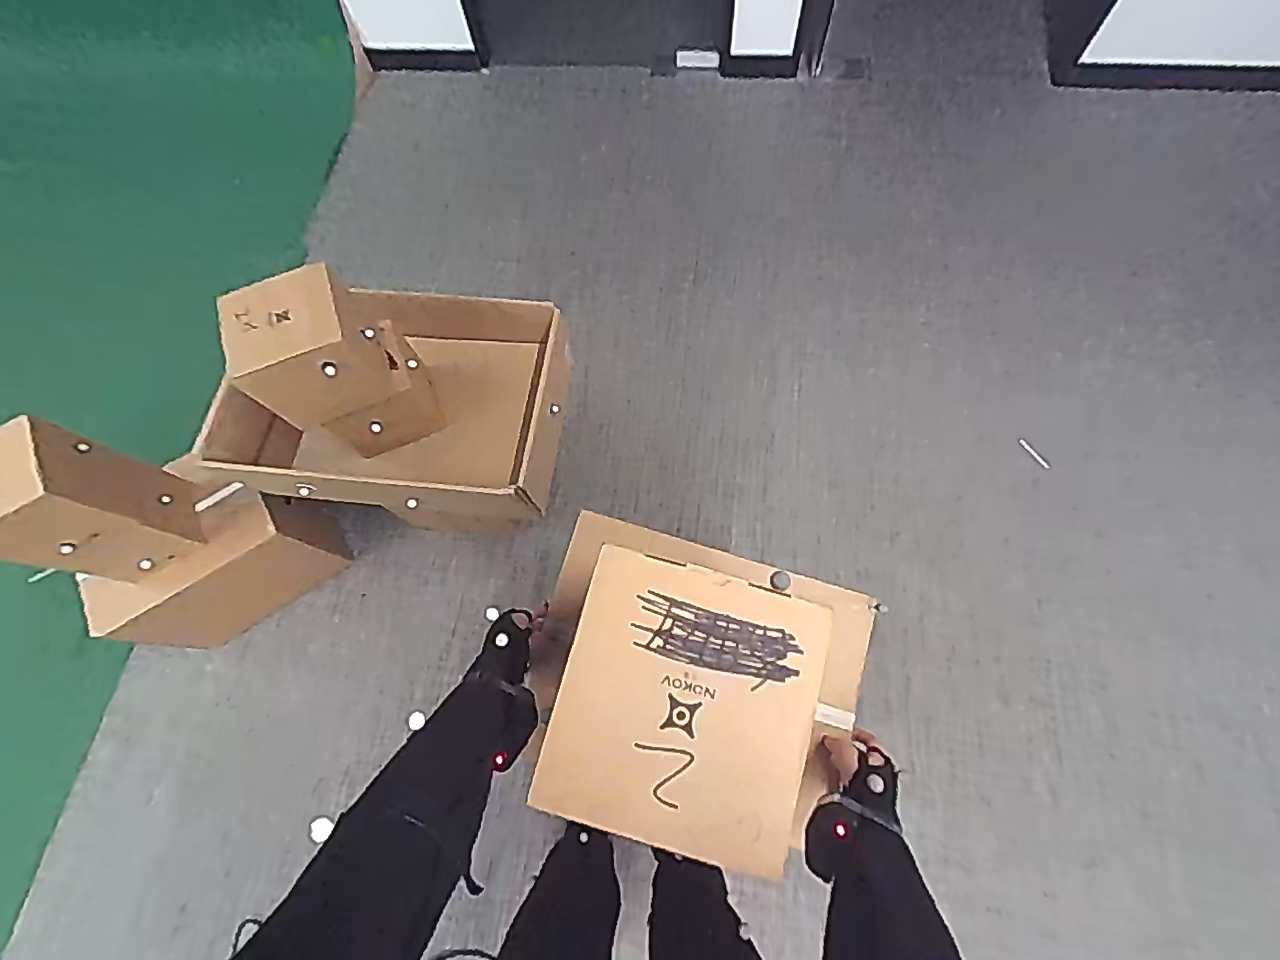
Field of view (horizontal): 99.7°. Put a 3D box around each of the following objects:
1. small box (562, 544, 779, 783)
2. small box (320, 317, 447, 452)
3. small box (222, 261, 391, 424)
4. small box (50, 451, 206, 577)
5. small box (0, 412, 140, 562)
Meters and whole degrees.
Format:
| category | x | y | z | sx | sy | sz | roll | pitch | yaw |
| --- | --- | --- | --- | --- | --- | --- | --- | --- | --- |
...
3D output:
| category | x | y | z | sx | sy | sz | roll | pitch | yaw |
| --- | --- | --- | --- | --- | --- | --- | --- | --- | --- |
| small box | 0.030 | 0.187 | 0.594 | 0.168 | 0.176 | 0.179 | 21 | 79 | 5 |
| small box | -0.508 | -0.177 | 1.055 | 0.179 | 0.176 | 0.168 | -23 | 71 | -5 |
| small box | -0.538 | -0.220 | 0.896 | 0.179 | 0.176 | 0.168 | -22 | 69 | -4 |
| small box | -1.042 | 0.076 | 1.101 | 0.168 | 0.176 | 0.179 | -29 | 71 | -7 |
| small box | -1.044 | 0.020 | 0.948 | 0.168 | 0.176 | 0.179 | -32 | 71 | -8 |
